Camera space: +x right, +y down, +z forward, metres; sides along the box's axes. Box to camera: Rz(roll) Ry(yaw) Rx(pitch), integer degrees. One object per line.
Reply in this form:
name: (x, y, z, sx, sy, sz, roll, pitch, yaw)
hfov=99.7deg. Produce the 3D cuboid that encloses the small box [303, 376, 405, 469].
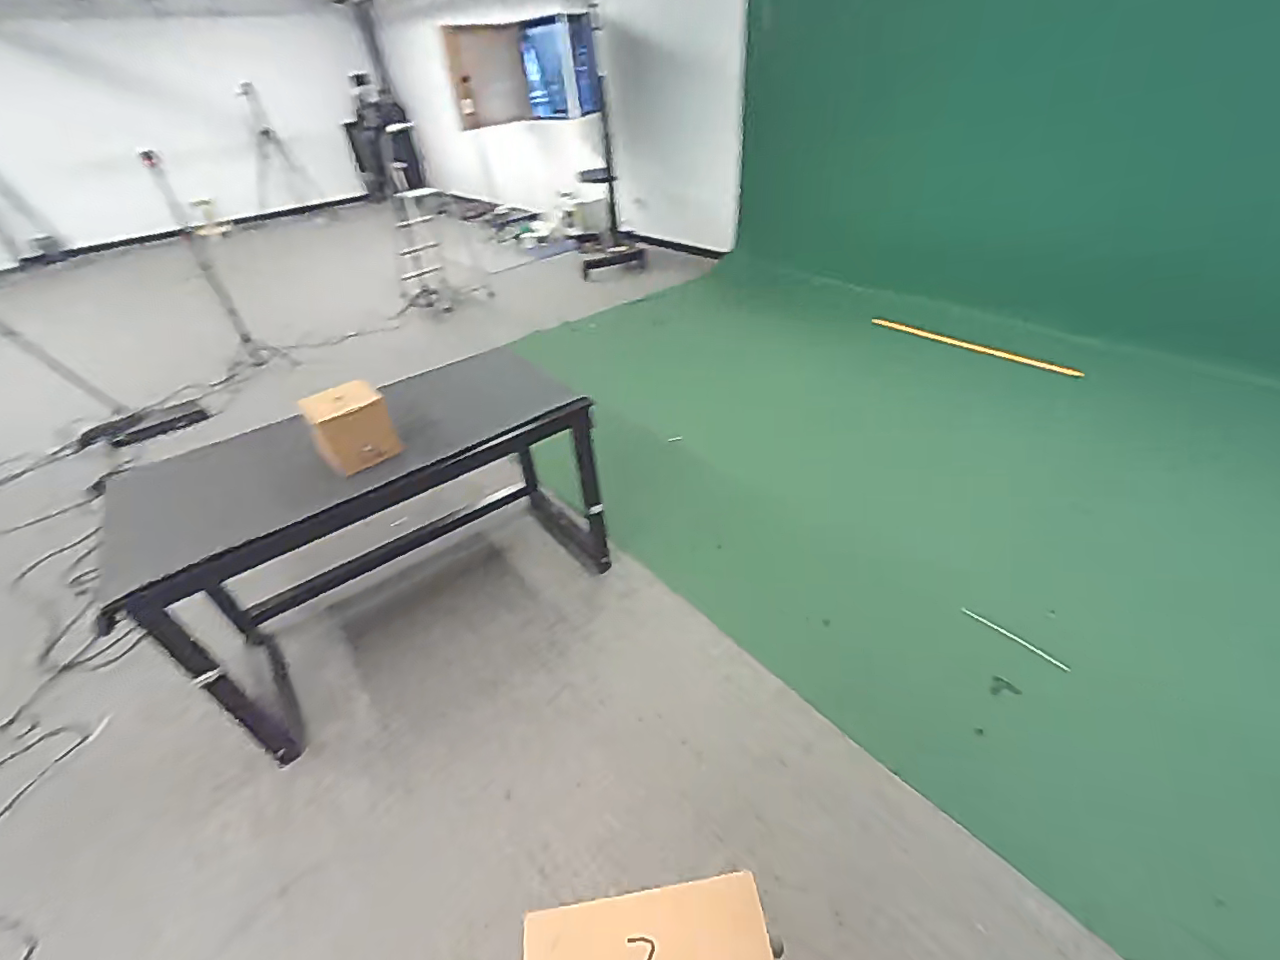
small box: (-0.762, -0.154, 1.448, 0.168, 0.176, 0.179, -32, 44, -30)
